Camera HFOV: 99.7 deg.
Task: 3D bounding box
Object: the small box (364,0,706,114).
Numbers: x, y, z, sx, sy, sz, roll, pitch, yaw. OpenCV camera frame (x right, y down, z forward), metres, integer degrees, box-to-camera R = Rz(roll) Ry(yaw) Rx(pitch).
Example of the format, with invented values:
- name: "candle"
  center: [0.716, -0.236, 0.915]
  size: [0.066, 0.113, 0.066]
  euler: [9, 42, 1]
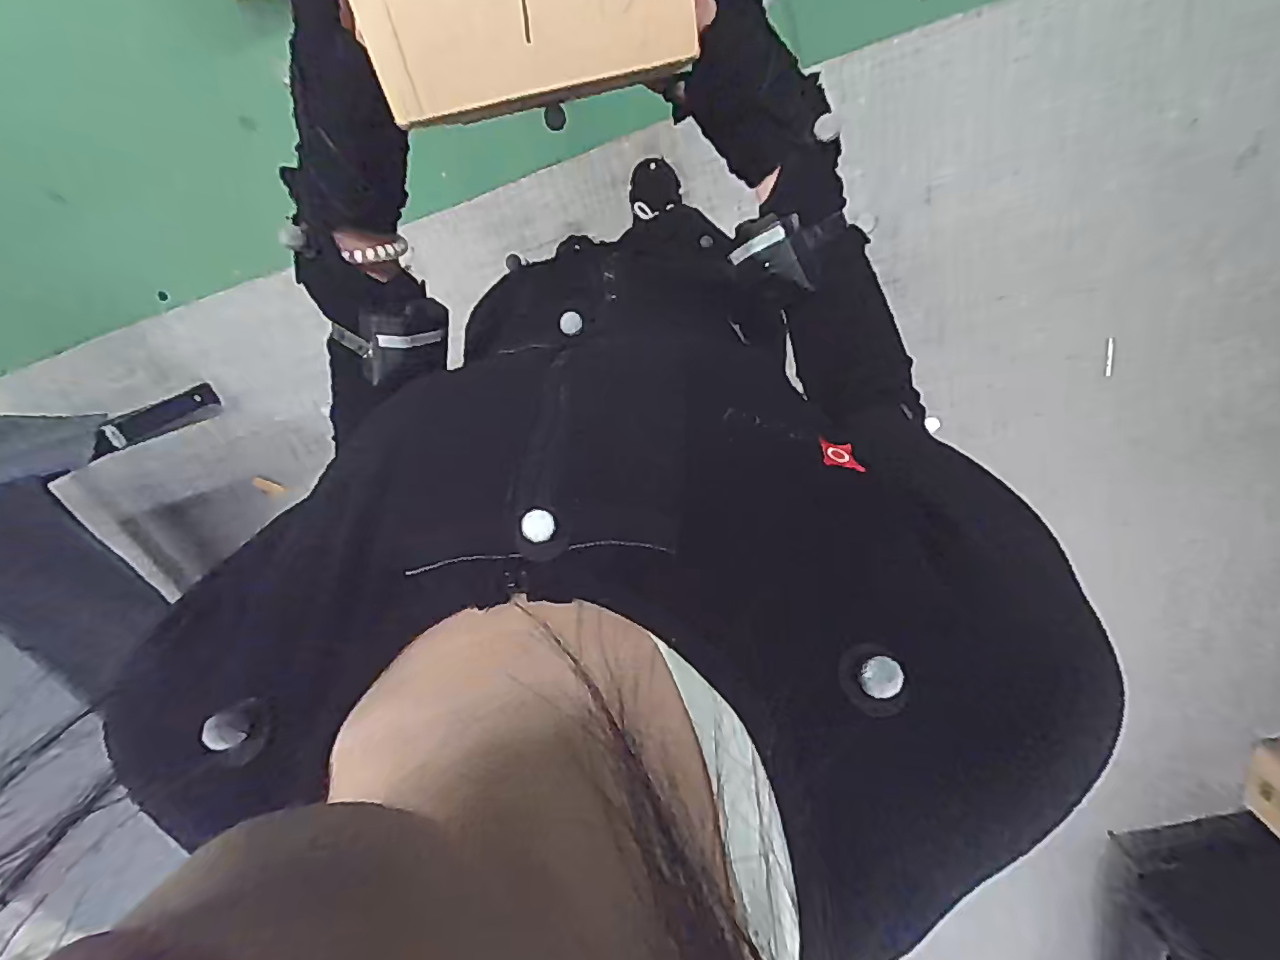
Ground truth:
- name: "small box"
  center: [-0.065, -0.323, 0.300]
  size: [0.168, 0.176, 0.179]
  euler: [-10, 123, 4]
